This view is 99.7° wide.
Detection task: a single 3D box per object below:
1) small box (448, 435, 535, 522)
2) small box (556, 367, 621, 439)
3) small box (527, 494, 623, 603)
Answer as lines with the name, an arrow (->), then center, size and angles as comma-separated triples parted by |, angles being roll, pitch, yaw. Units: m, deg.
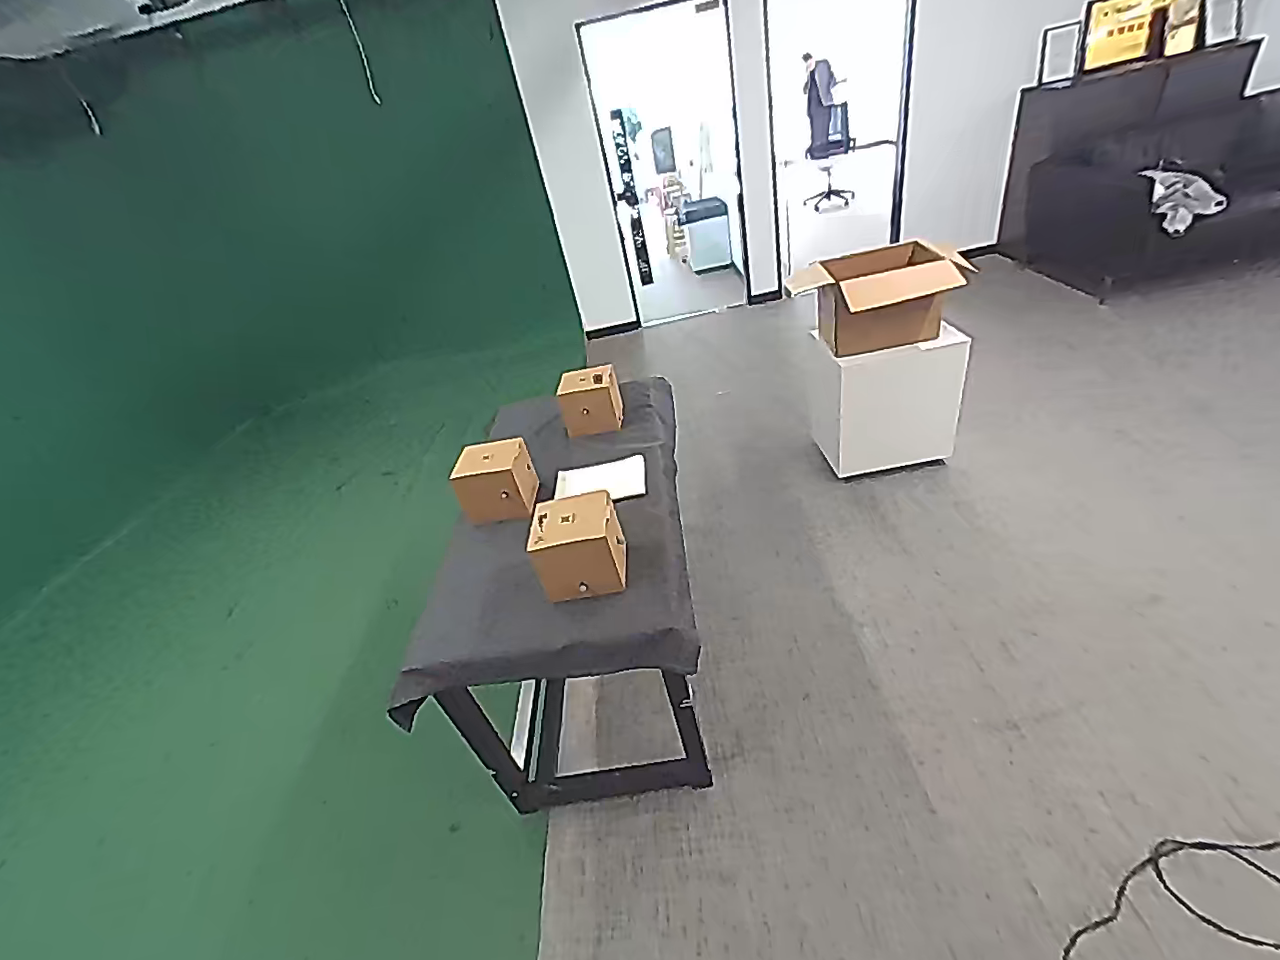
small box -> -0.408, -0.003, 1.523 | 0.179, 0.176, 0.168 | -10, 34, 6
small box -> -0.165, -0.258, 1.821 | 0.179, 0.176, 0.168 | -8, 35, 8
small box -> -0.137, 0.157, 1.231 | 0.179, 0.176, 0.168 | -10, 34, 6
